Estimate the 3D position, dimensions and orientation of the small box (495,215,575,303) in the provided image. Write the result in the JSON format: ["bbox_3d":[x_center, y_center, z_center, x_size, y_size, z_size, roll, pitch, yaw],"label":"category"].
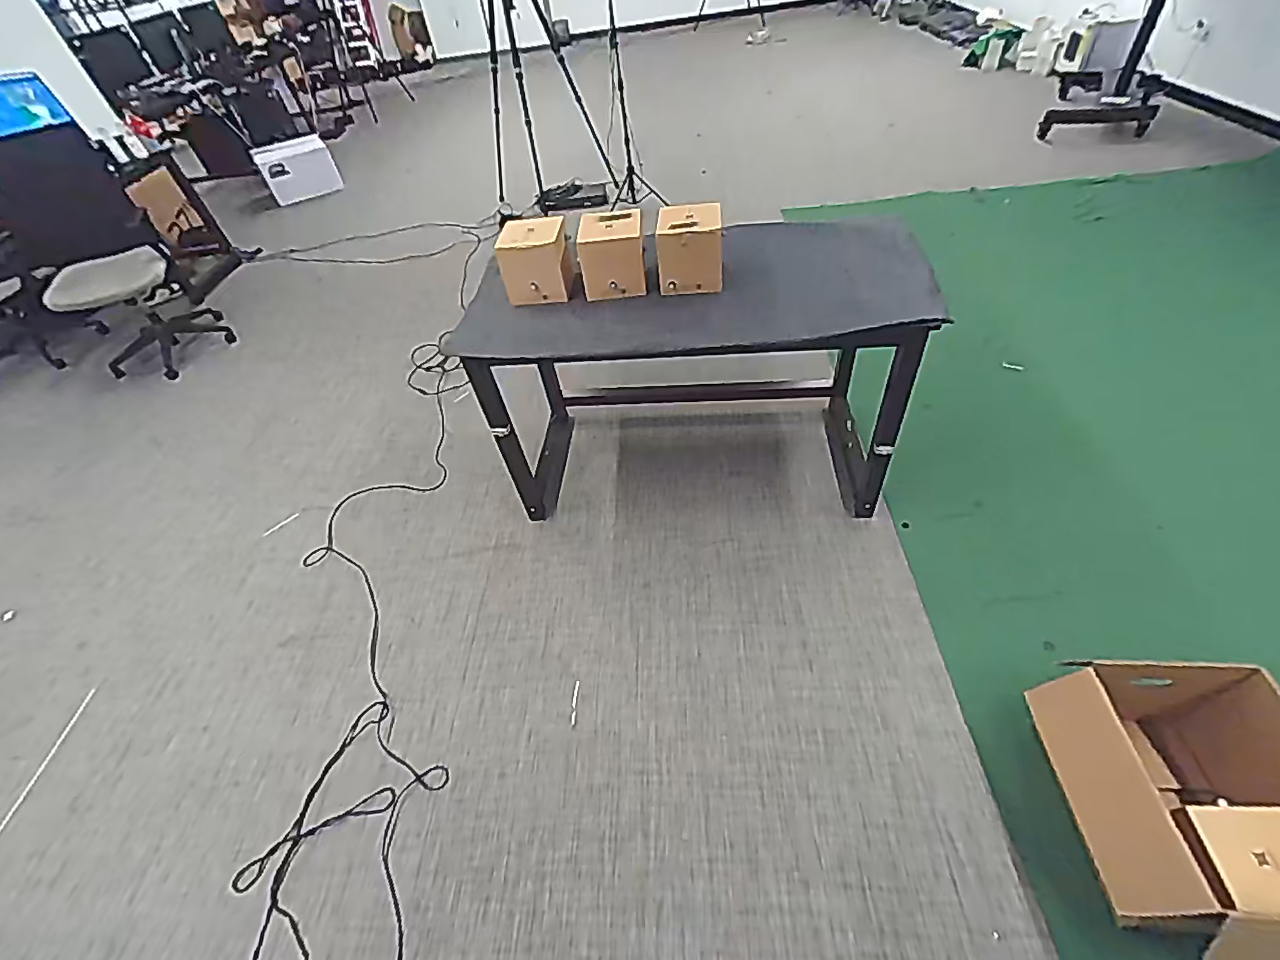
[{"bbox_3d":[-0.283,-0.614,1.508,0.168,0.176,0.179,-3,48,7],"label":"small box"}]
